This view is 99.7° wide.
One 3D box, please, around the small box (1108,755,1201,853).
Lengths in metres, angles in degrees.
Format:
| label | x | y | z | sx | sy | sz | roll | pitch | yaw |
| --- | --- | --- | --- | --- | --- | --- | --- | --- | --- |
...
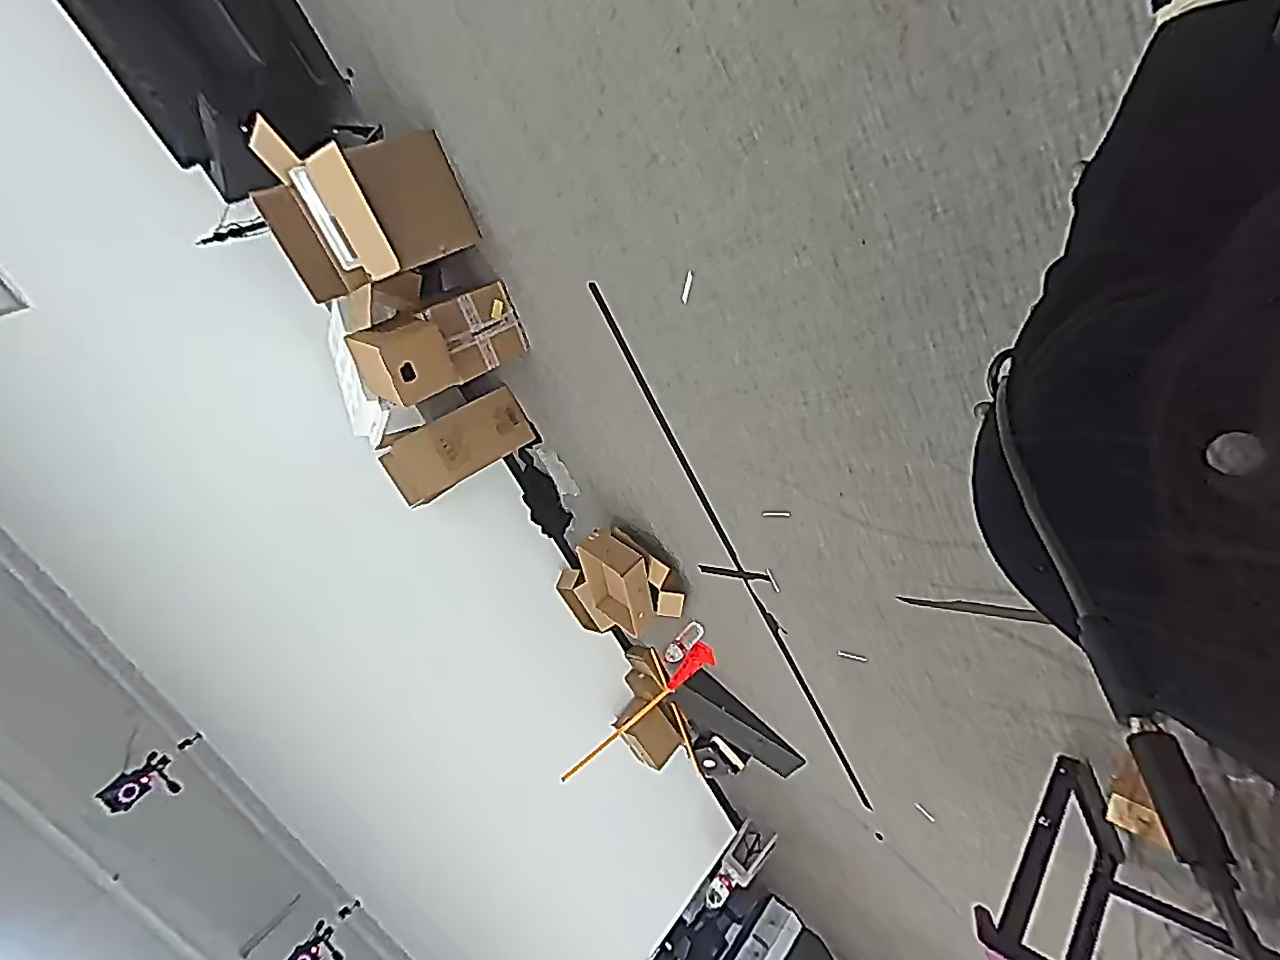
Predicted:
| label | x | y | z | sx | sy | sz | roll | pitch | yaw |
| --- | --- | --- | --- | --- | --- | --- | --- | --- | --- |
| small box | 1.612 | 1.004 | 1.697 | 0.179 | 0.176 | 0.168 | 15 | 134 | 45 |
